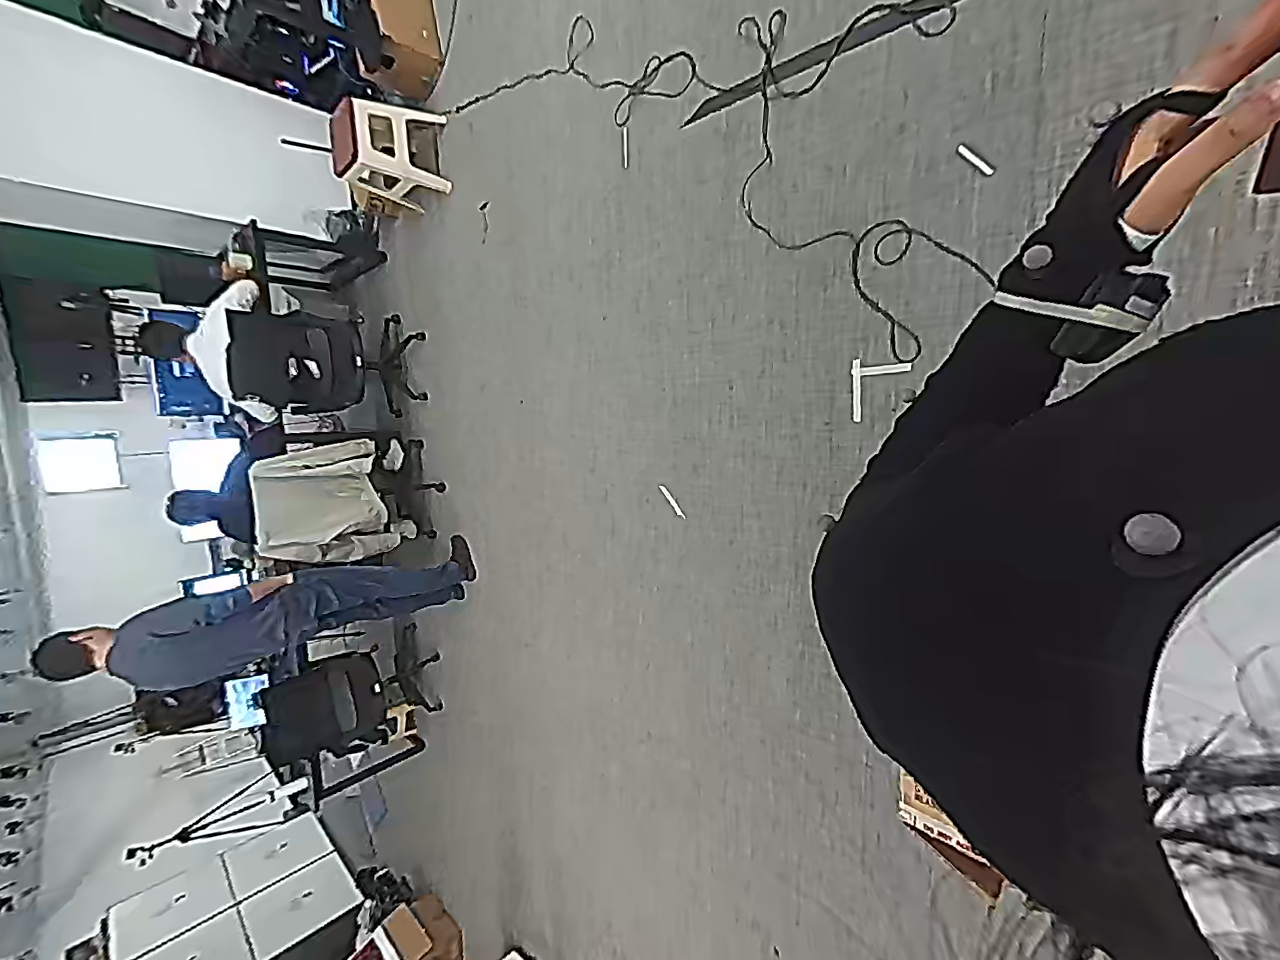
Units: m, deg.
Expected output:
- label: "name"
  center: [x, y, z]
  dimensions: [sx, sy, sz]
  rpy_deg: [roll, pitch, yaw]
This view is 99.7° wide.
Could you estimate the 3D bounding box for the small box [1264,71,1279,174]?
- label: "small box"
  center: [0.422, -0.263, 0.236]
  dimensions: [0.168, 0.176, 0.179]
  rpy_deg: [16, 101, 44]
